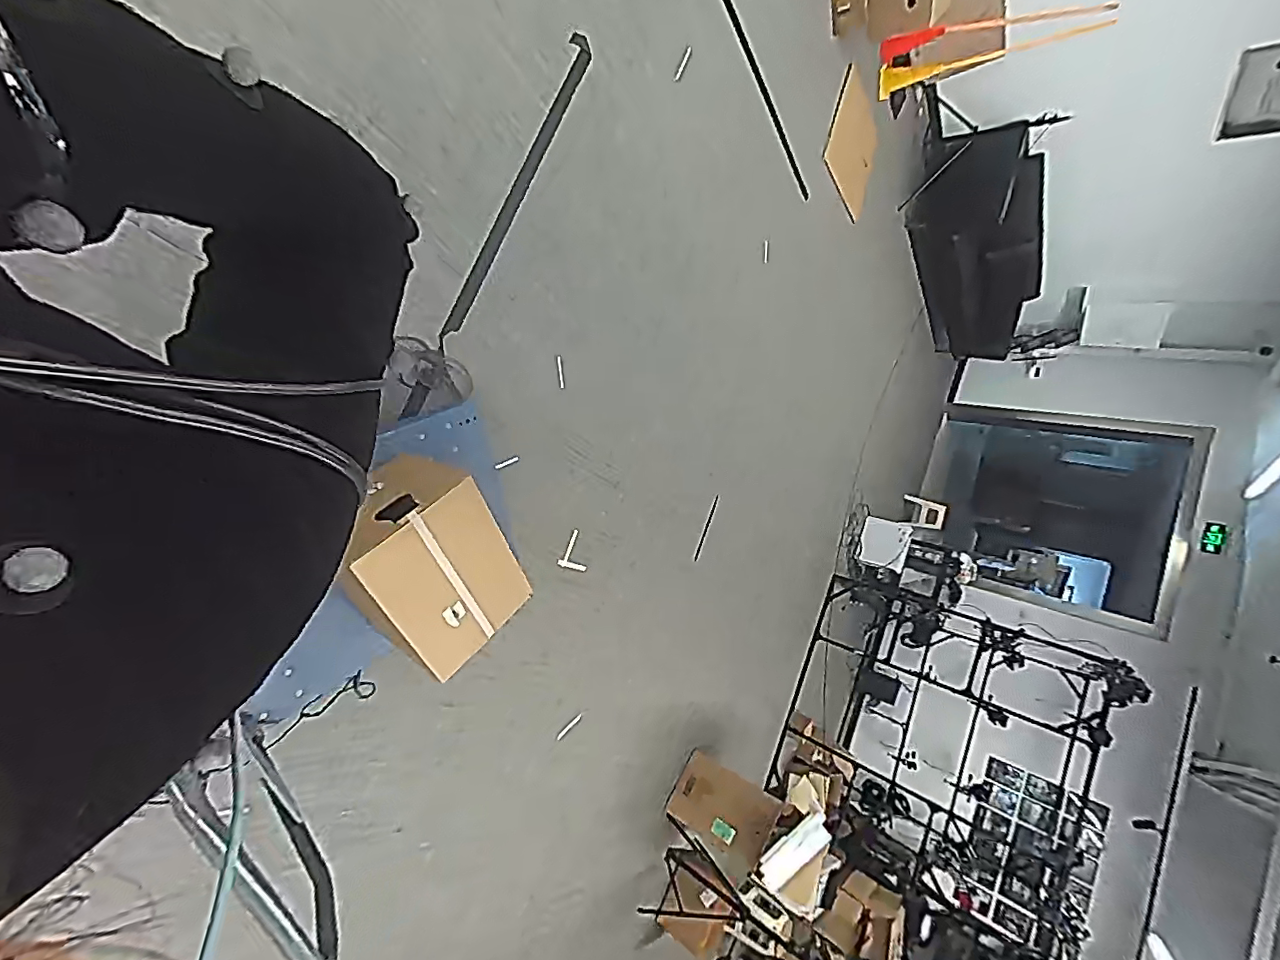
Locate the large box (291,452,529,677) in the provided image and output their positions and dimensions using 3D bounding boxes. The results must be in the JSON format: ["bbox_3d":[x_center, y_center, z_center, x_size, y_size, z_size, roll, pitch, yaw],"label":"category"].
[{"bbox_3d":[-0.547,0.194,1.329,0.320,0.320,0.408,-44,133,-33],"label":"large box"}]
